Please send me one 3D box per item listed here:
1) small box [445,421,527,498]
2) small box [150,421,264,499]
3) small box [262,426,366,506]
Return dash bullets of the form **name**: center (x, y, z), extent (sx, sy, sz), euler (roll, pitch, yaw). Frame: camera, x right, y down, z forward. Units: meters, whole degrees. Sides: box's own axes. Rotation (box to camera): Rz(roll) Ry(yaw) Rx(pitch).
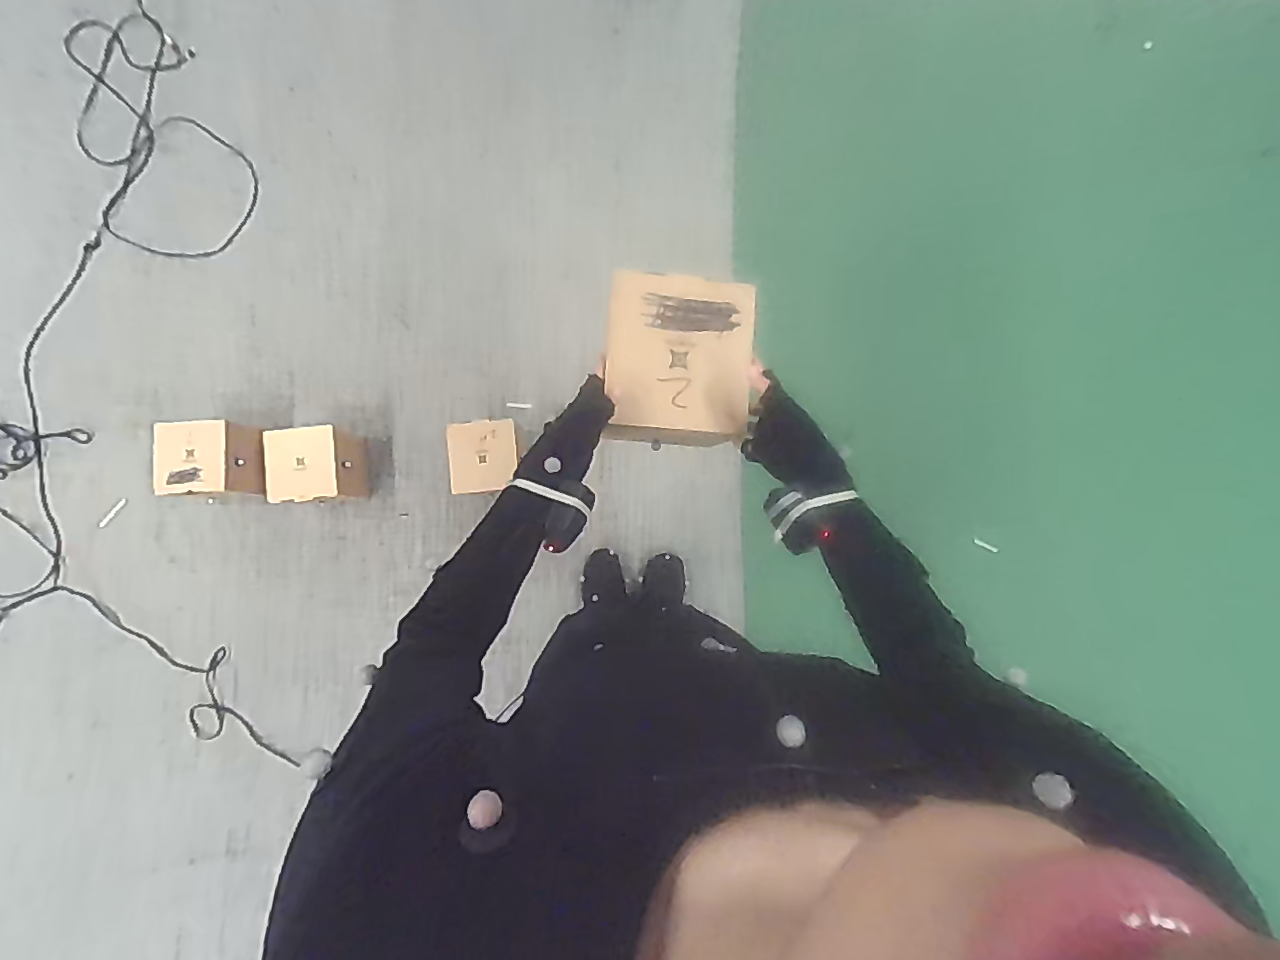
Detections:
- **small box**: center (-0.387, -0.047, 1.383), extent (0.168, 0.176, 0.179), euler (-5, 86, -5)
- **small box**: center (-1.067, -0.044, 1.348), extent (0.168, 0.176, 0.179), euler (-3, 85, -3)
- **small box**: center (-0.812, -0.030, 1.360), extent (0.168, 0.176, 0.179), euler (-6, 87, -3)
